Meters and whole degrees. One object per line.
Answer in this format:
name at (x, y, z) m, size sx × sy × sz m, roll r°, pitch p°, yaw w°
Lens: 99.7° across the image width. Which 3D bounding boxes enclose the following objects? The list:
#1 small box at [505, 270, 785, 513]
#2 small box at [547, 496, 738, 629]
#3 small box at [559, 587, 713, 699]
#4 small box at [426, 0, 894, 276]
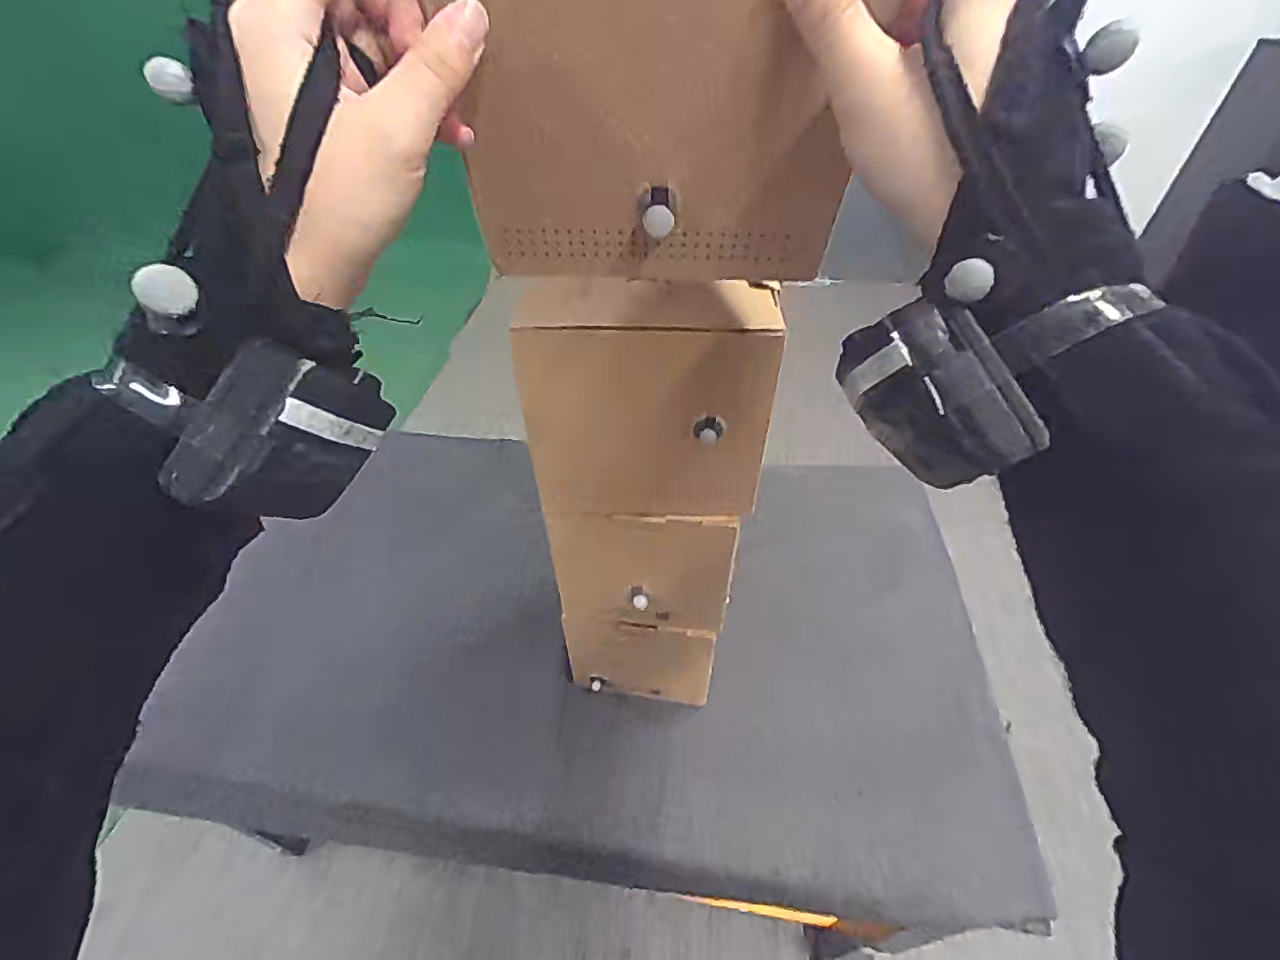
small box at (0.006, -0.086, 0.444) m, size 0.179 × 0.176 × 0.168 m, roll 0°, pitch 43°, yaw 2°
small box at (0.010, 0.028, 0.560) m, size 0.168 × 0.176 × 0.179 m, roll 4°, pitch 45°, yaw 6°
small box at (0.010, 0.148, 0.673) m, size 0.168 × 0.176 × 0.179 m, roll 6°, pitch 44°, yaw 7°
small box at (0.010, -0.220, 0.266) m, size 0.179 × 0.176 × 0.168 m, roll 1°, pitch 55°, yaw 1°
